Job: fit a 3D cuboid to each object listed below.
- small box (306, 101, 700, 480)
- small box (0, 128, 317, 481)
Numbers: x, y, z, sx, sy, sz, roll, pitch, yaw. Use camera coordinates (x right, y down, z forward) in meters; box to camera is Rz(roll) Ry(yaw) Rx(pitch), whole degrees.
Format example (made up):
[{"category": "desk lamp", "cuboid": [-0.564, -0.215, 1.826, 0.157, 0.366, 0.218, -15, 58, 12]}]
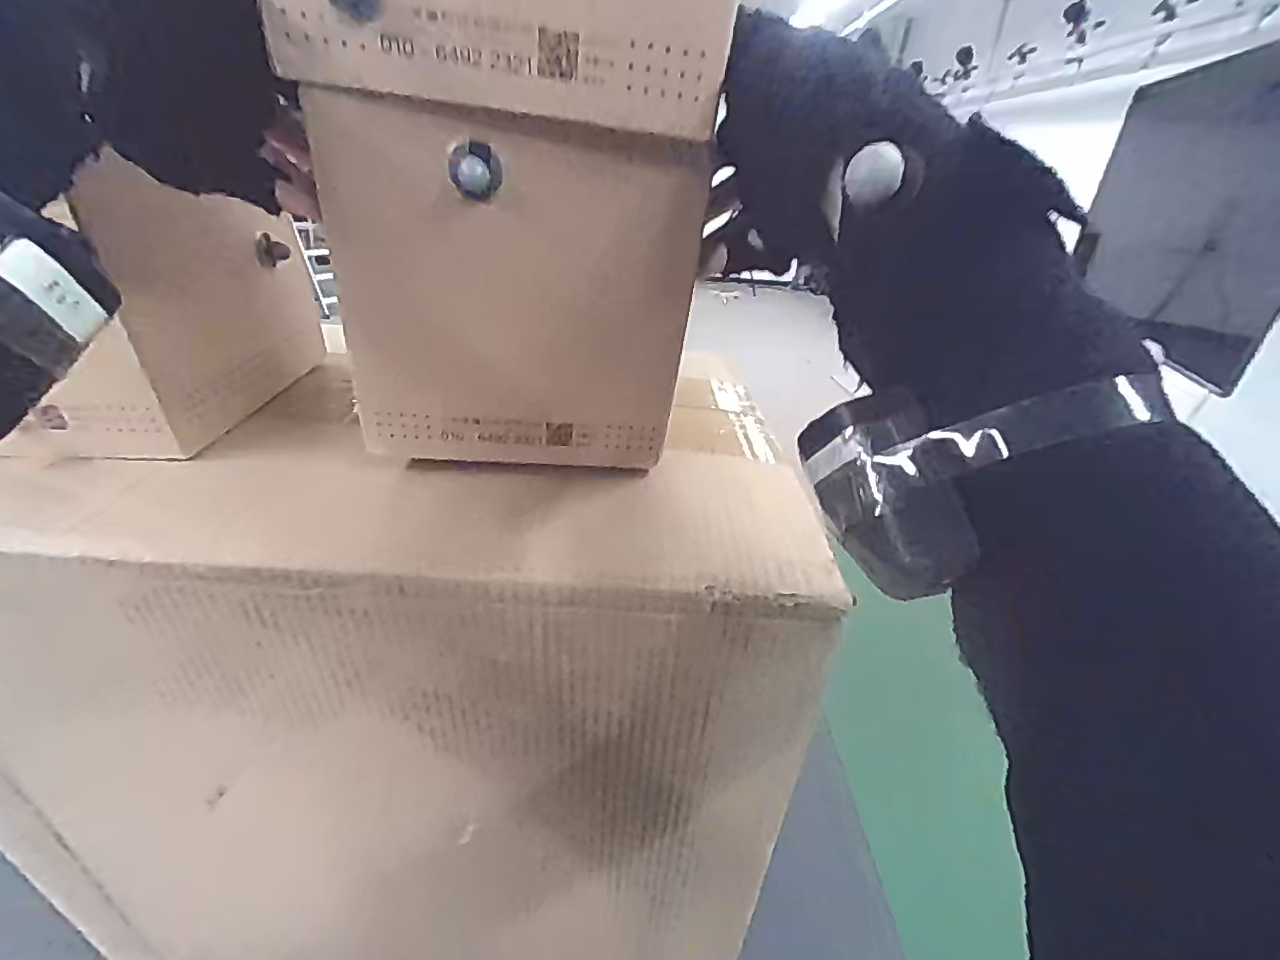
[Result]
[{"category": "small box", "cuboid": [-0.071, -0.119, 0.336, 0.168, 0.176, 0.179, 2, 34, -8]}, {"category": "small box", "cuboid": [-0.331, -0.114, 0.331, 0.168, 0.176, 0.179, -1, 33, -2]}]
